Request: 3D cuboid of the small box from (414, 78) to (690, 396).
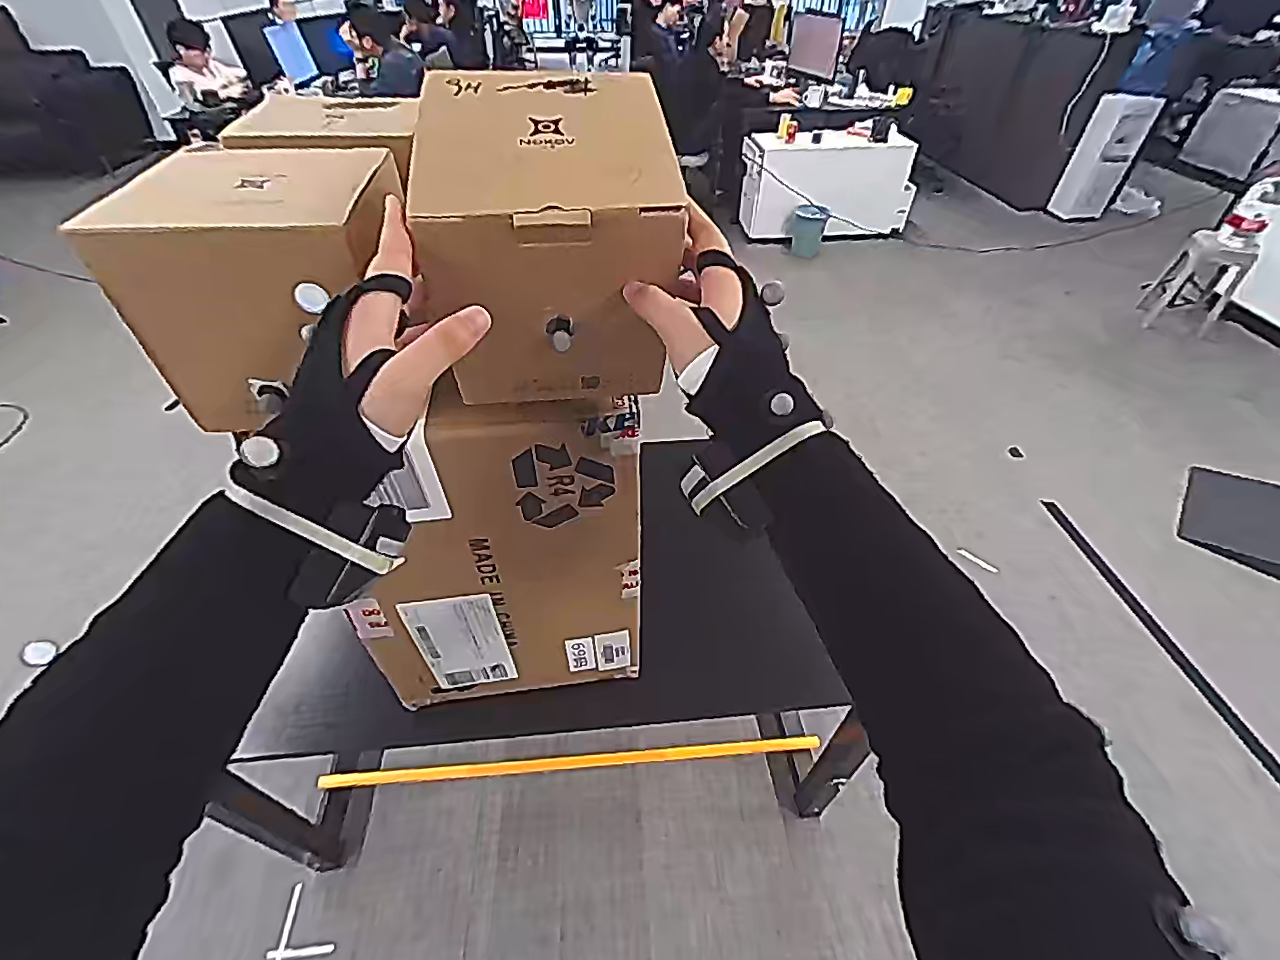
[{"bbox_3d":[-0.065,-0.178,0.425,0.168,0.176,0.179,-3,59,-9],"label":"small box"}]
